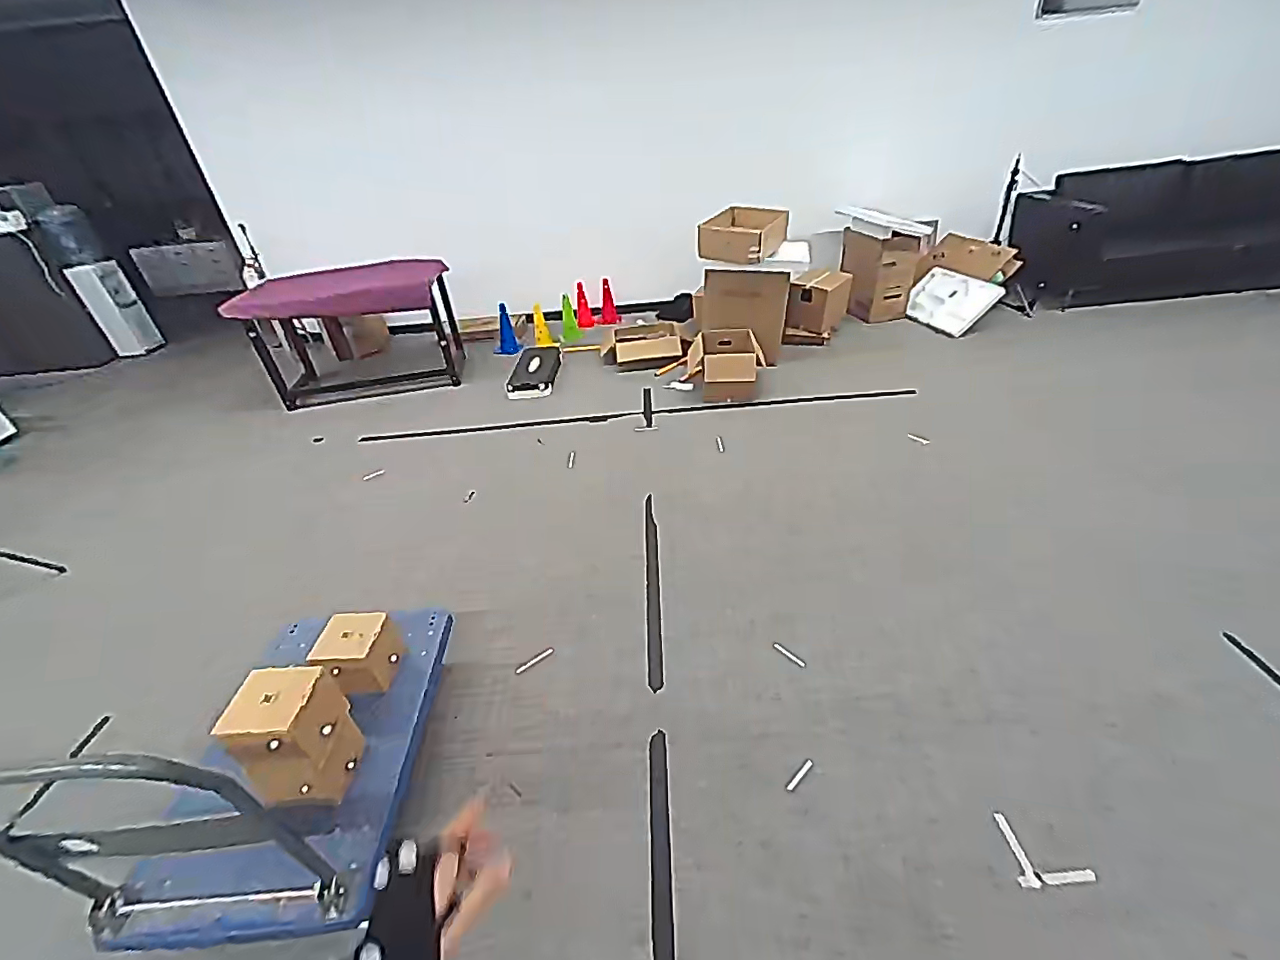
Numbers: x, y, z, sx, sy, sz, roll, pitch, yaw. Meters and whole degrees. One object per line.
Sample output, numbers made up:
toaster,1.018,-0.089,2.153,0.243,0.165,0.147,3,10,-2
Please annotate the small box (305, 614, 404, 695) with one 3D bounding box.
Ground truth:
small box,-0.835,0.519,1.600,0.179,0.176,0.168,-3,36,4

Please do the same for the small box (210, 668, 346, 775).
small box,-0.825,0.561,1.255,0.179,0.176,0.168,-3,35,1
